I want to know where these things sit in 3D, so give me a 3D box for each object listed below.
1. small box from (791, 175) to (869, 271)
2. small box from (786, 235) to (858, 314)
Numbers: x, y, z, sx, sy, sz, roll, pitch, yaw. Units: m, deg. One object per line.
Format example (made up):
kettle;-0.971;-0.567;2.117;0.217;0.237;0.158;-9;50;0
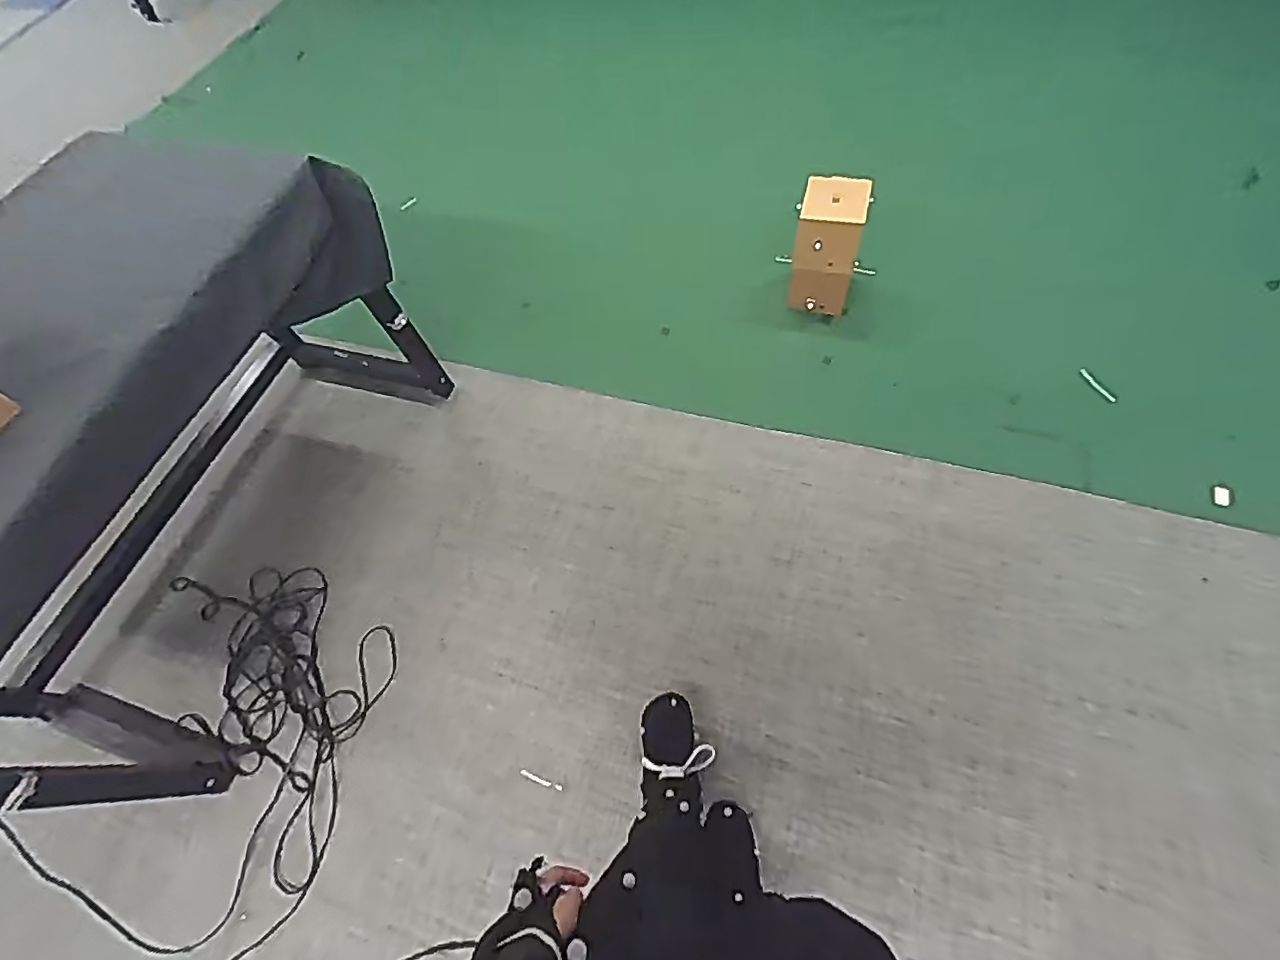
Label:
small box;0.518;-0.705;1.493;0.168;0.176;0.179;12;65;13
small box;0.546;-0.634;1.637;0.168;0.176;0.179;13;66;14
